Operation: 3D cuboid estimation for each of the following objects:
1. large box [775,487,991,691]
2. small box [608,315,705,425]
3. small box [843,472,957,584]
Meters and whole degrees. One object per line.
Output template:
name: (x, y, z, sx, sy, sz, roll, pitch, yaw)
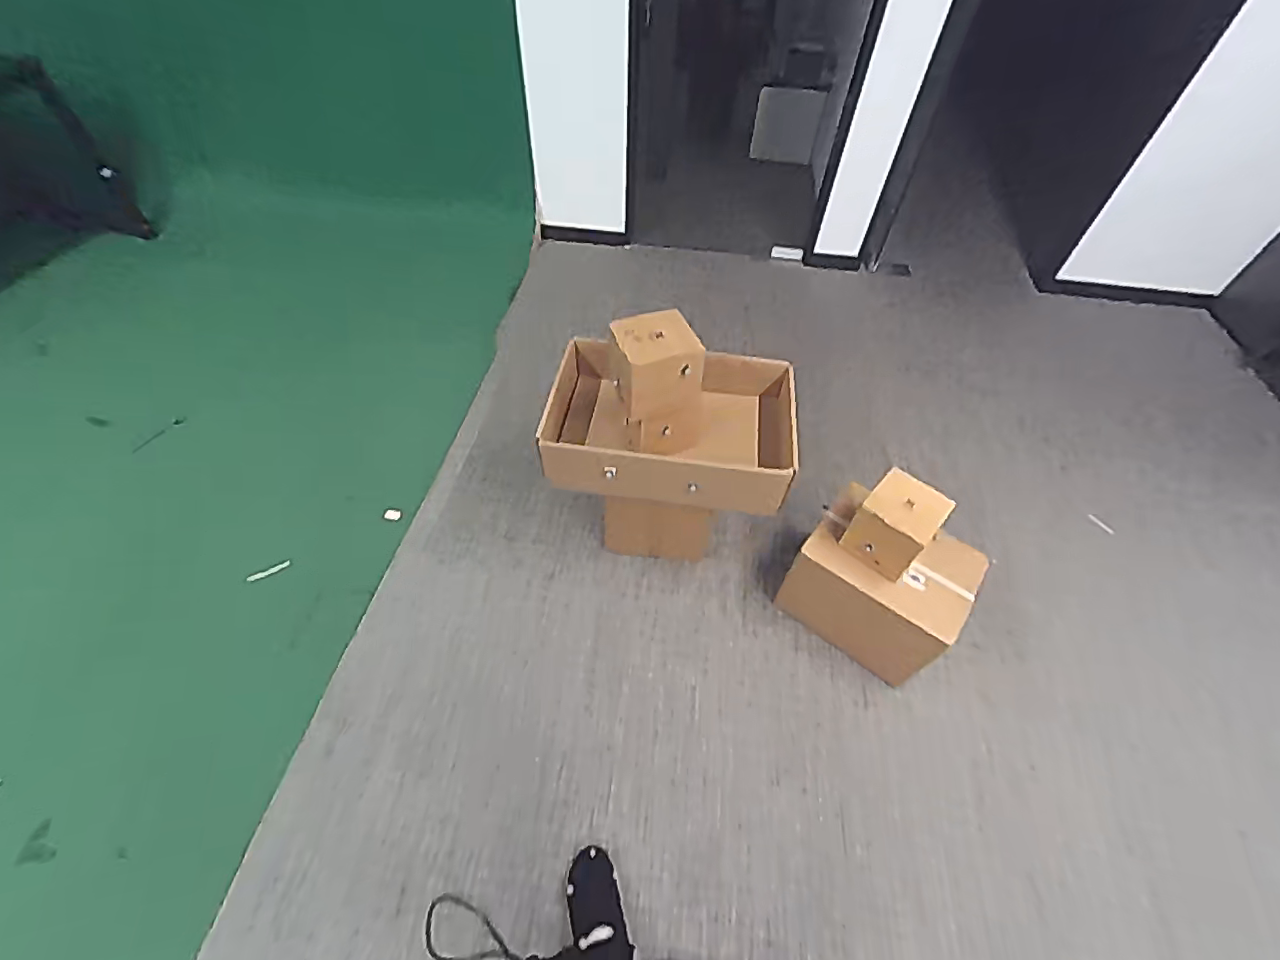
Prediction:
large box: (0.650, 0.299, 1.502, 0.408, 0.320, 0.320, 34, 57, 21)
small box: (0.031, -0.256, 1.261, 0.179, 0.176, 0.168, -16, 53, -14)
small box: (0.631, 0.119, 1.333, 0.168, 0.176, 0.179, 37, 58, 24)
